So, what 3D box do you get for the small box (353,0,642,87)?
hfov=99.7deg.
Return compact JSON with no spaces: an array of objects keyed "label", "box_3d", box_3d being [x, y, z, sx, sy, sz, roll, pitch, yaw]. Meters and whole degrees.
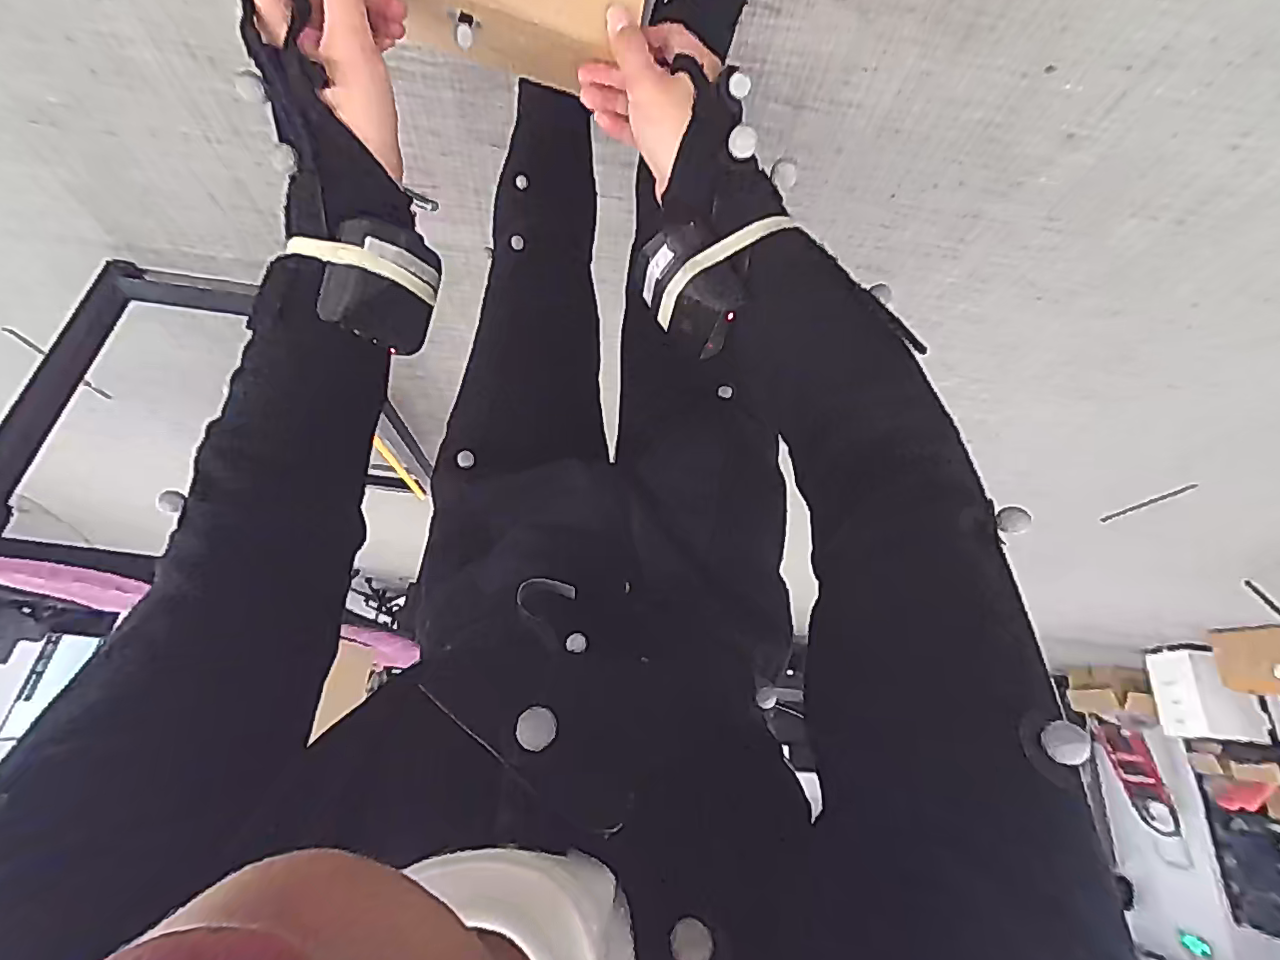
[{"label":"small box","box_3d":[-0.090,-0.367,0.329,0.179,0.176,0.168,4,117,-22]}]
